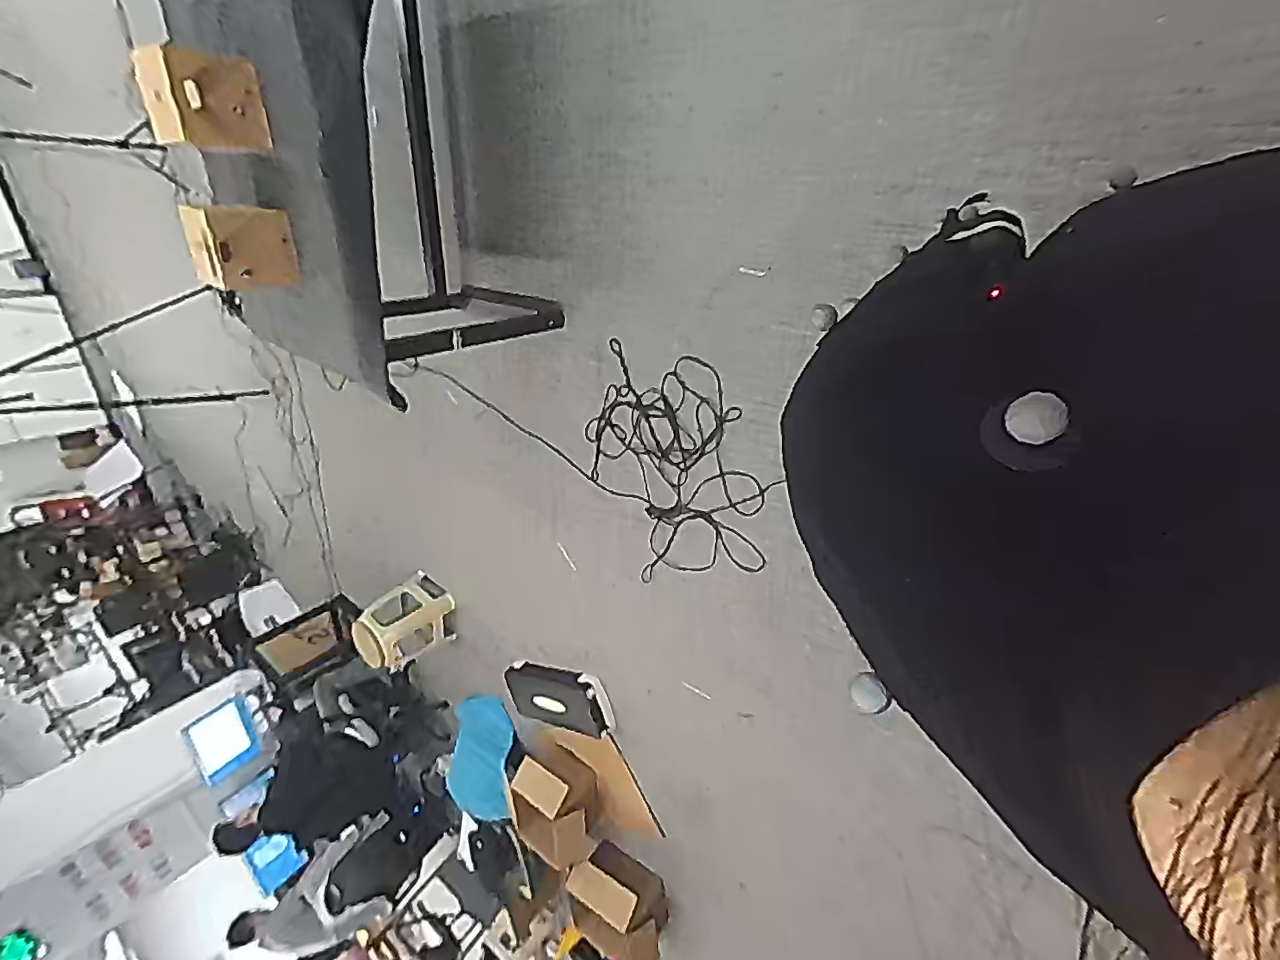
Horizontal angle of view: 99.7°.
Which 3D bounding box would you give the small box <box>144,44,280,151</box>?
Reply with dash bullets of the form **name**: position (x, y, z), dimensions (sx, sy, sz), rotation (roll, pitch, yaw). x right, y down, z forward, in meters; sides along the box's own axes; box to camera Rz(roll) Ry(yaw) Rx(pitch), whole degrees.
- **small box**: position (-0.922, -0.819, 1.176), dimensions (0.179, 0.176, 0.168), rotation (21, 122, 31)
